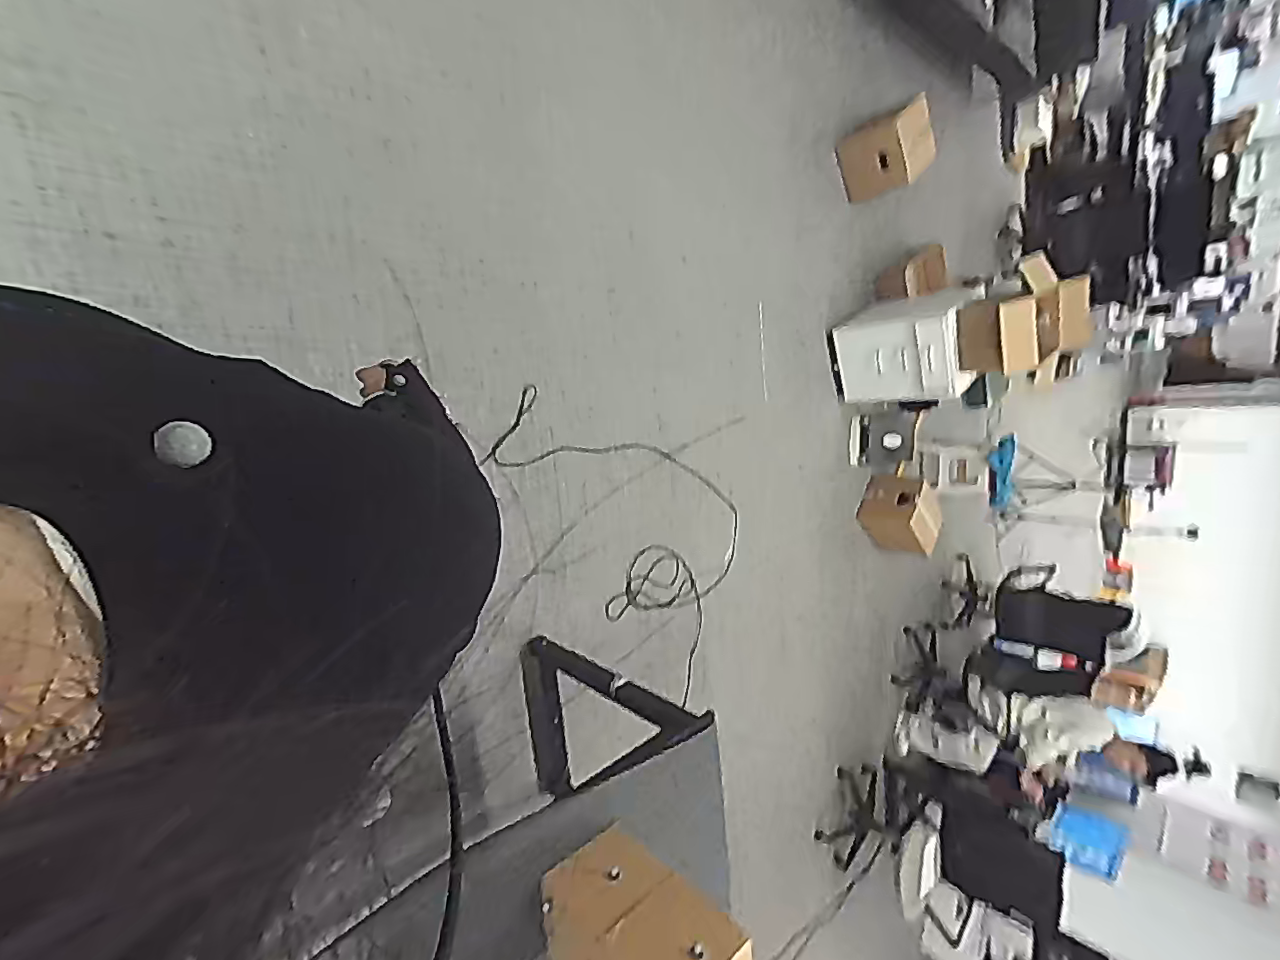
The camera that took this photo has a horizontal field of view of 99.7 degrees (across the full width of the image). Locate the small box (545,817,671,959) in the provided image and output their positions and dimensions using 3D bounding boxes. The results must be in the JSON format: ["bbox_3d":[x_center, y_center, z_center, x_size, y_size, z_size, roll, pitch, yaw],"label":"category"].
[{"bbox_3d":[-0.059,0.765,0.977,0.179,0.176,0.168,-13,103,-42],"label":"small box"}]

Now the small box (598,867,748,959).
[{"bbox_3d":[0.054,0.775,0.860,0.179,0.176,0.168,-11,101,-41],"label":"small box"}]
